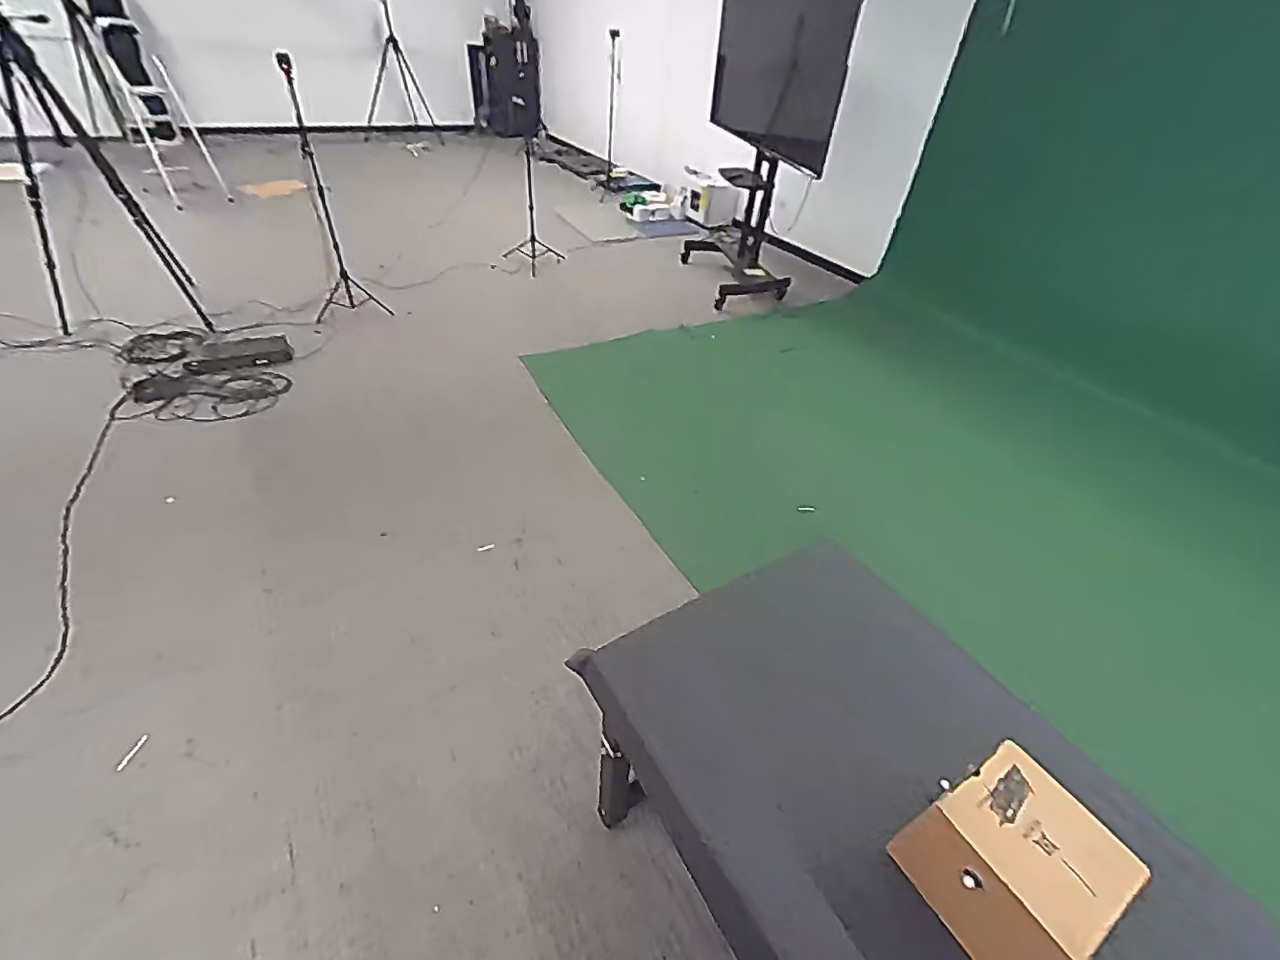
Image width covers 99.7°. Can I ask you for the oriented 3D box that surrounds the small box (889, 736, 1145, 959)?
[{"bbox_3d":[0.456,0.473,0.685,0.168,0.176,0.179,-19,48,-25],"label":"small box"}]
